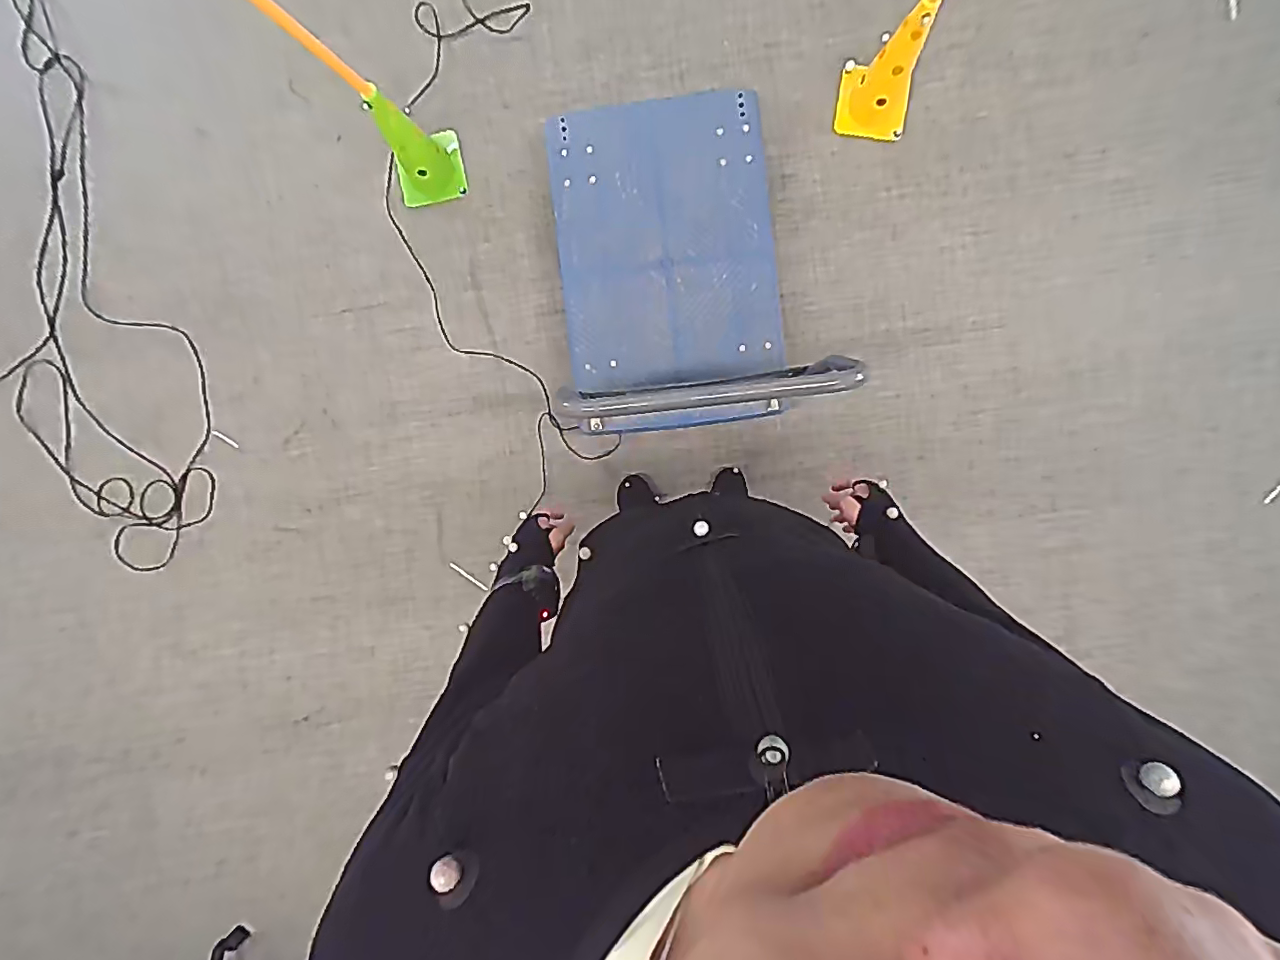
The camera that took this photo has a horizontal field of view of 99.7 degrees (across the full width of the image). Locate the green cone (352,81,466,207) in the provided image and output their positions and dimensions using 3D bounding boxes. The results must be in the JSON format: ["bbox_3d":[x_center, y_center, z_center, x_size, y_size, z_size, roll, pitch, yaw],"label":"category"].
[{"bbox_3d":[-0.647,-0.937,1.459,0.202,0.368,0.200,-12,91,4],"label":"green cone"}]
